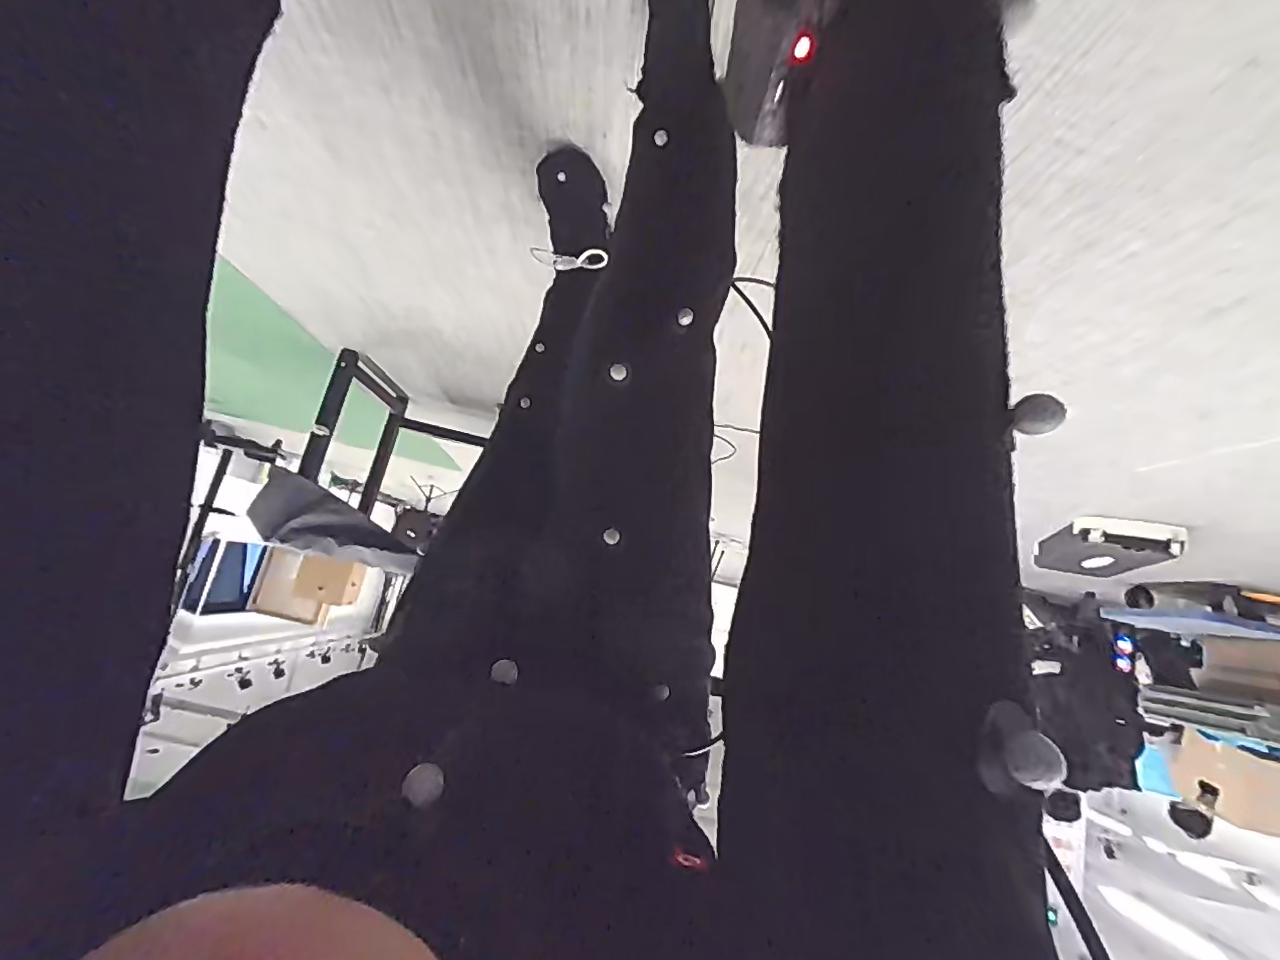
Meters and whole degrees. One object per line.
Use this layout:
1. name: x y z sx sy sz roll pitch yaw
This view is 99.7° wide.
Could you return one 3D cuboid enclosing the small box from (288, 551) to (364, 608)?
1. small box: -1.122 0.357 1.952 0.179 0.176 0.168 15 167 -7
